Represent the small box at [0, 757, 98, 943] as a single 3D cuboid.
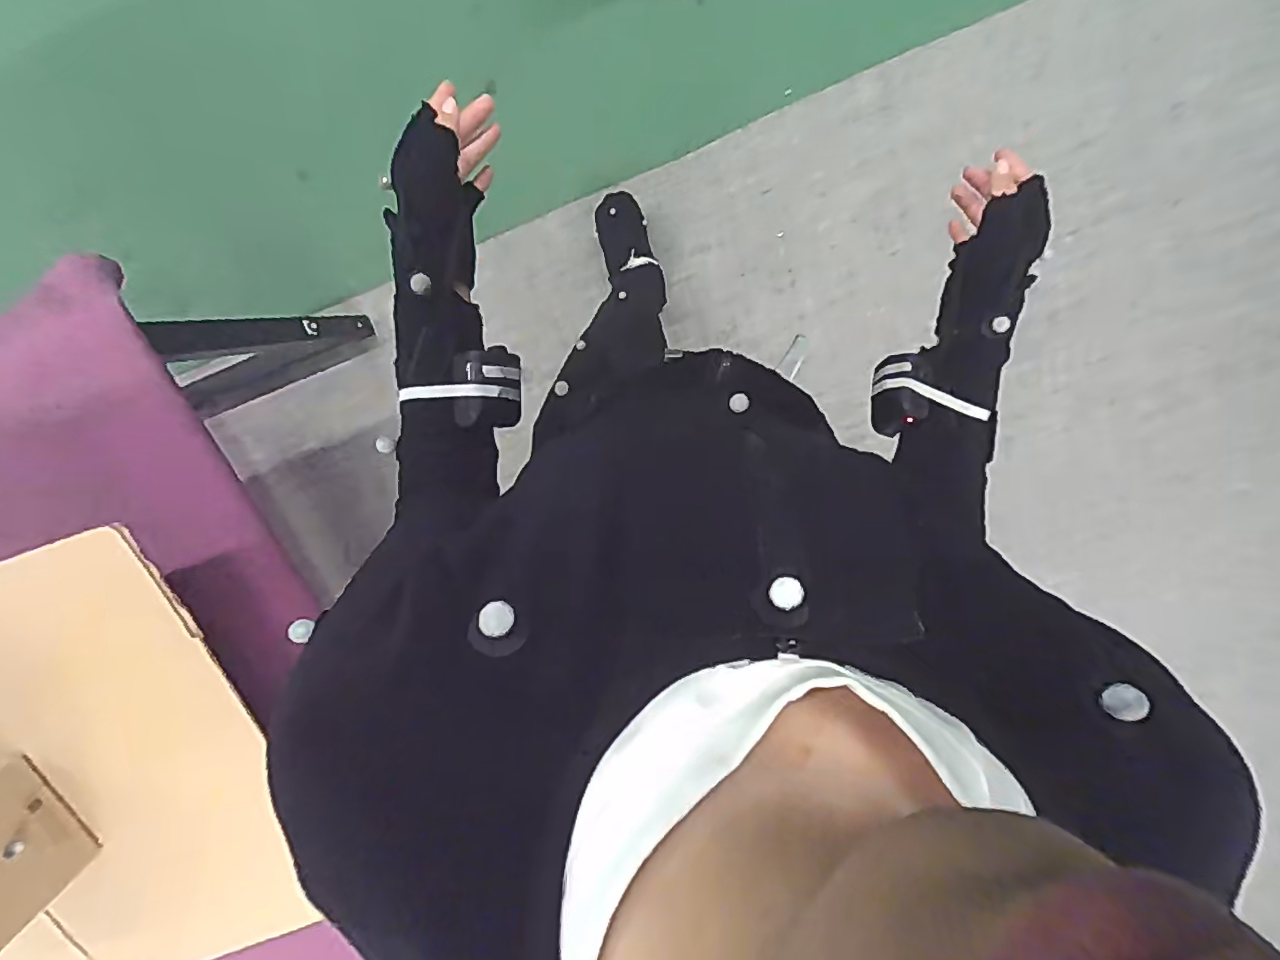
[{"bbox_3d":[-0.796,0.450,0.608,0.179,0.176,0.168,-17,107,7],"label":"small box"}]
